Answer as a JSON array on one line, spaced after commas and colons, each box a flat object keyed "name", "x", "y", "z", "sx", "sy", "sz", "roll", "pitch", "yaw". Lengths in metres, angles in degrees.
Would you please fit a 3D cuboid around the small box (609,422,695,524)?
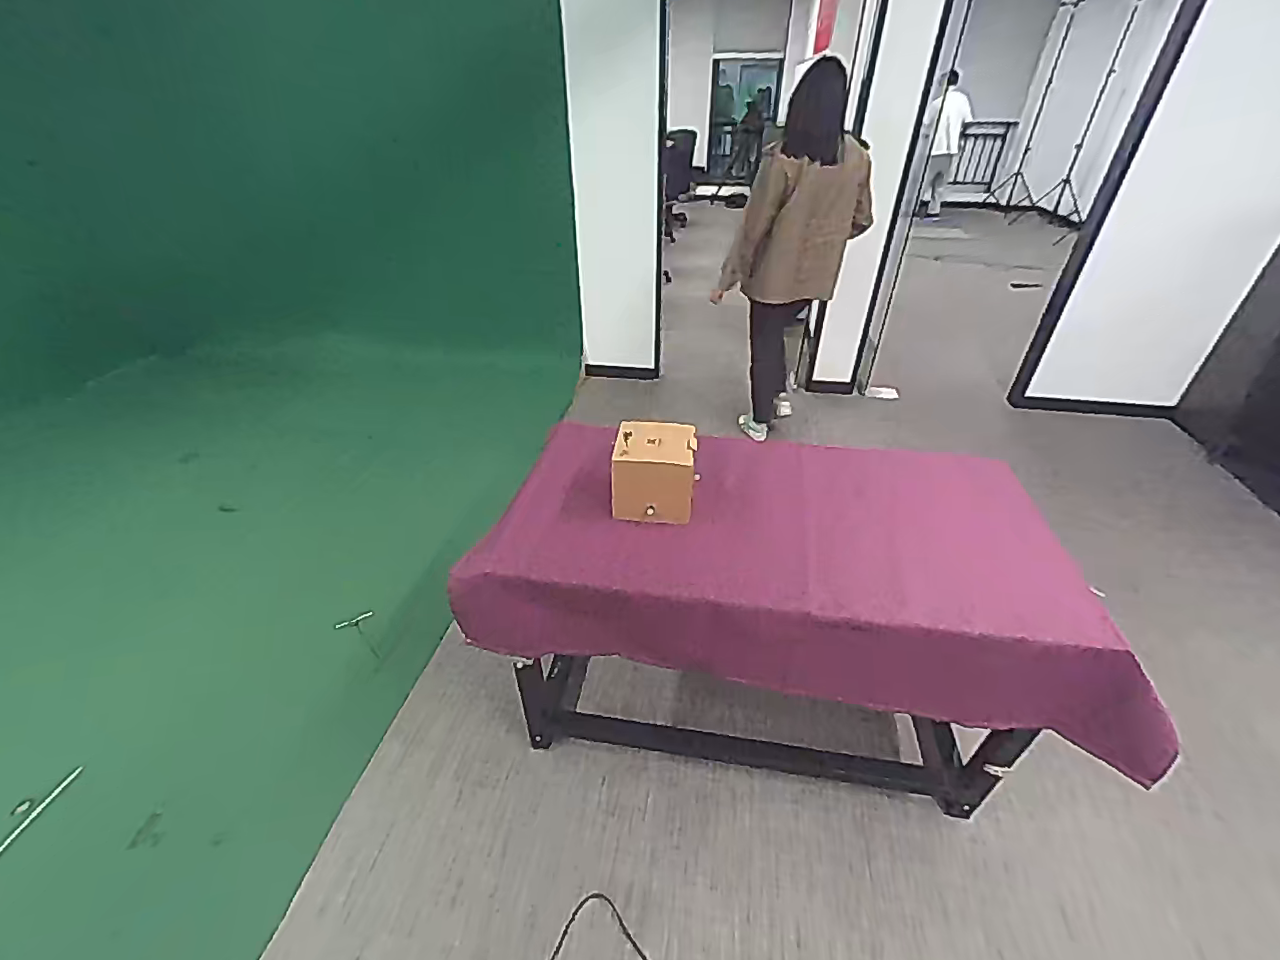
[{"name": "small box", "x": 0.030, "y": -0.014, "z": 1.244, "sx": 0.179, "sy": 0.176, "sz": 0.168, "roll": 4, "pitch": 37, "yaw": 6}]
